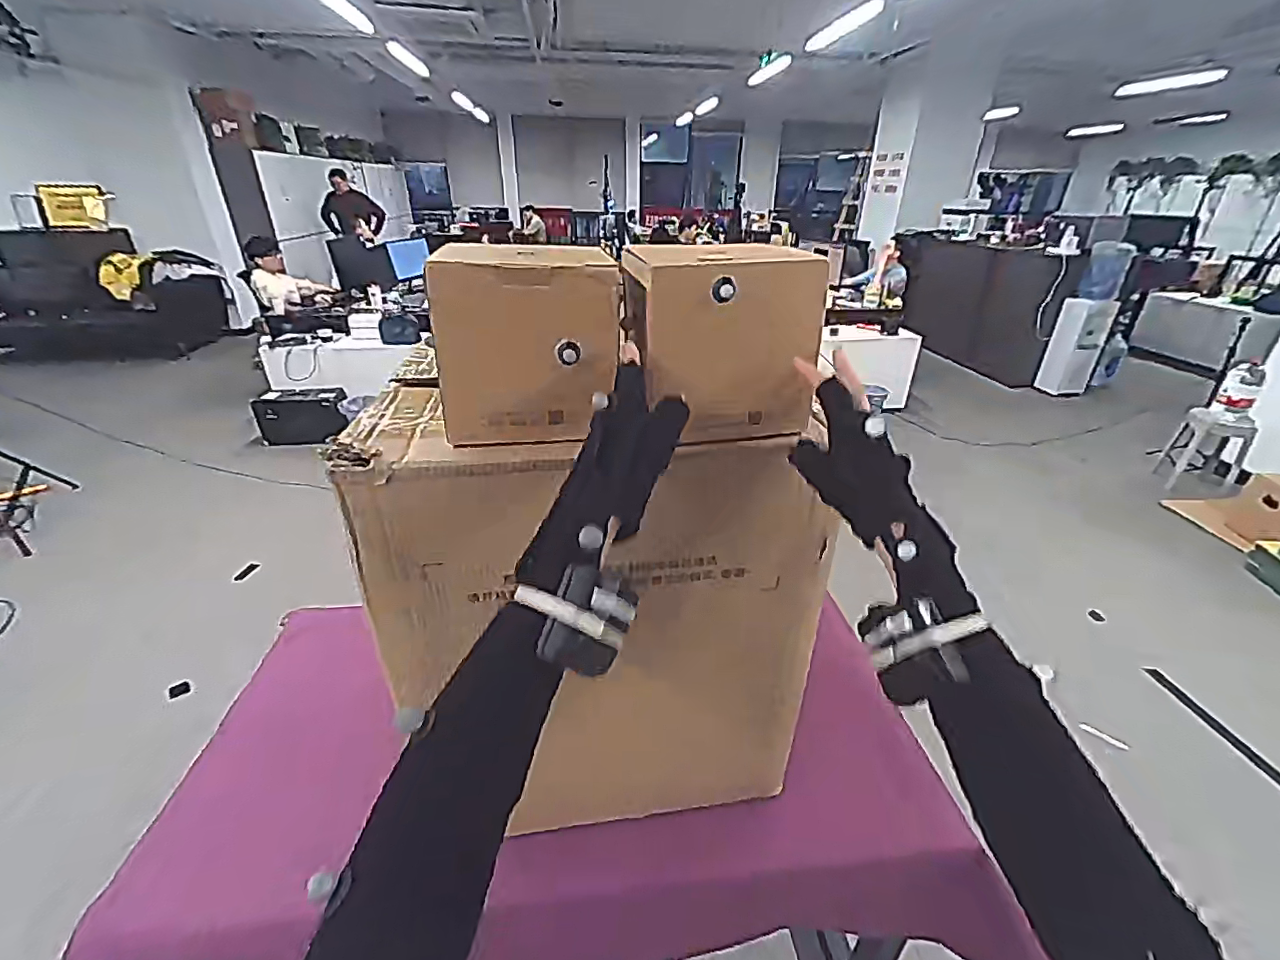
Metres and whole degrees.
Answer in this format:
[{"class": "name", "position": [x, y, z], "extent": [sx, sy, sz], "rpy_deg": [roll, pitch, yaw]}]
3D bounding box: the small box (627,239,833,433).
[{"class": "small box", "position": [0.077, -0.159, 0.572], "extent": [0.168, 0.176, 0.179], "rpy_deg": [-6, 28, -8]}]

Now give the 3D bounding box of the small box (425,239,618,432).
[{"class": "small box", "position": [-0.114, -0.153, 0.564], "extent": [0.168, 0.176, 0.179], "rpy_deg": [-2, 27, -11]}]
